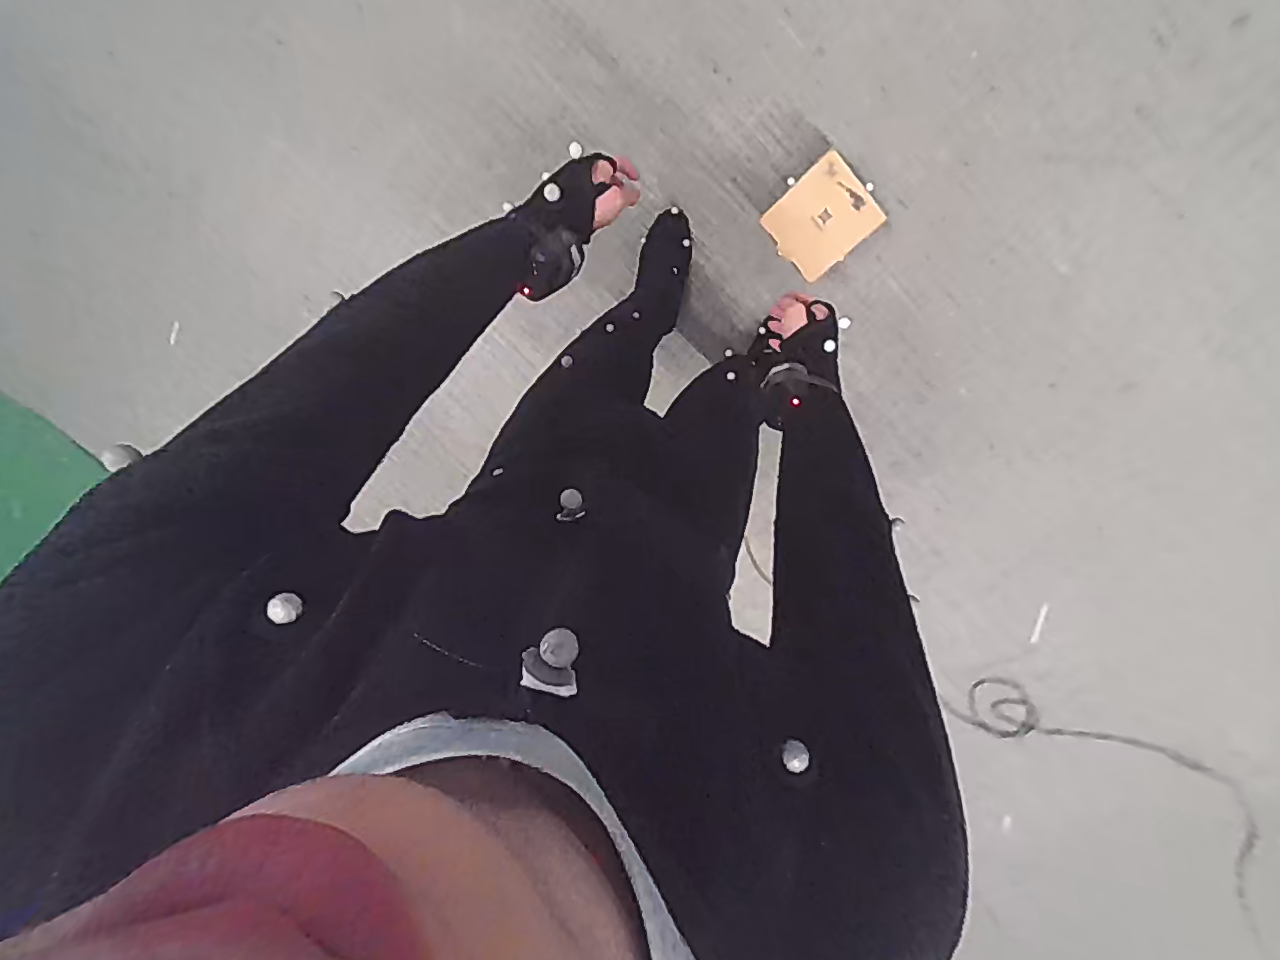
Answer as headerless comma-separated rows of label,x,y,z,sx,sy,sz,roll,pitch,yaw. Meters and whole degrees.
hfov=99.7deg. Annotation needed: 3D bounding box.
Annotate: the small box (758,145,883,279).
small box,0.367,-0.545,1.106,0.168,0.176,0.179,46,121,-10
